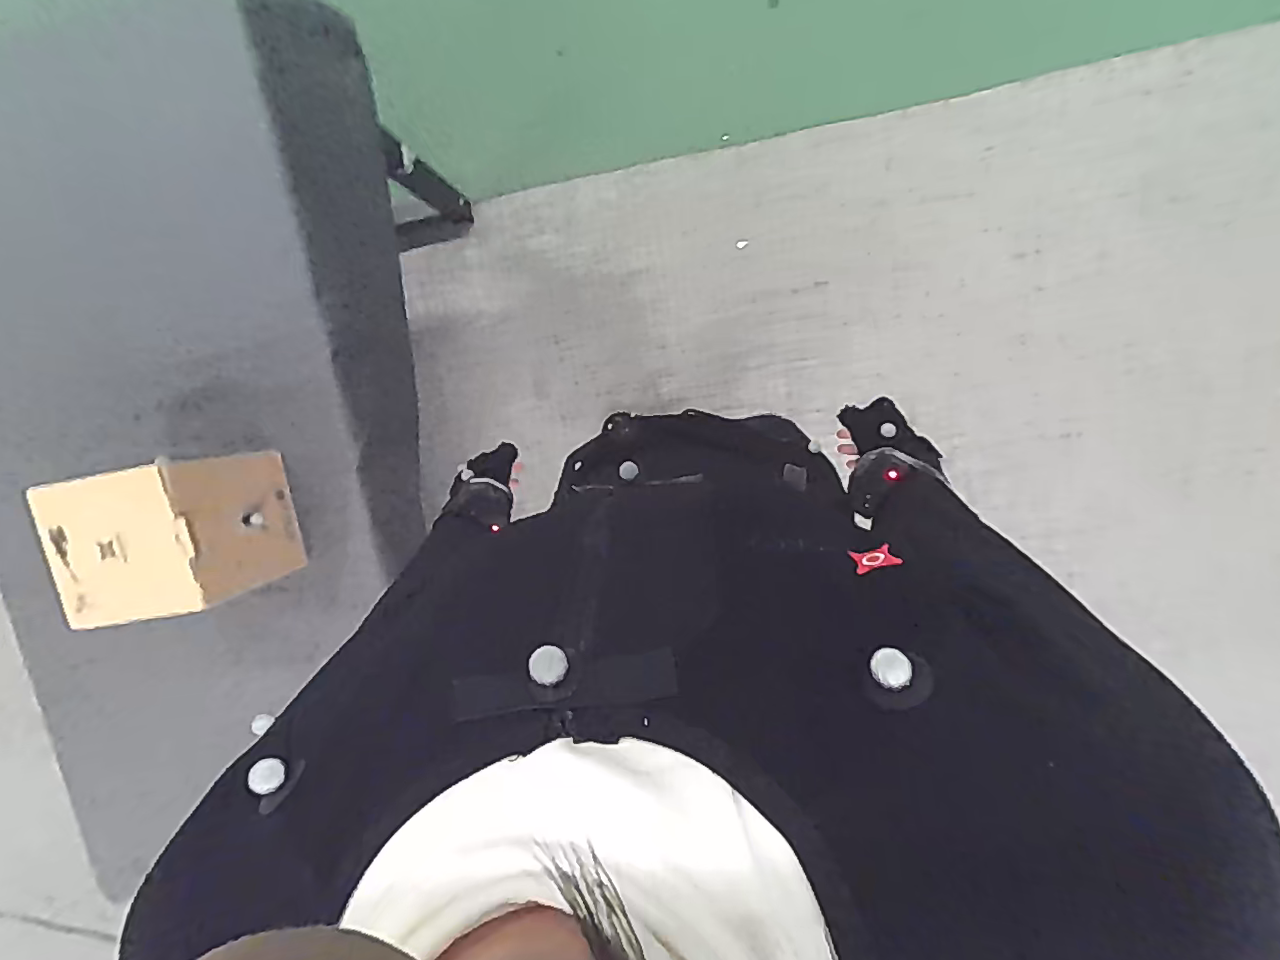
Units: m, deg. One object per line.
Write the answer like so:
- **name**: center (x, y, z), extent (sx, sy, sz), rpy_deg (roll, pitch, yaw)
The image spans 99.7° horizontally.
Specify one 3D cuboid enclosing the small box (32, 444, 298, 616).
- **small box**: center (-0.570, 0.052, 0.680), extent (0.179, 0.176, 0.168), rpy_deg (-9, 98, 7)
